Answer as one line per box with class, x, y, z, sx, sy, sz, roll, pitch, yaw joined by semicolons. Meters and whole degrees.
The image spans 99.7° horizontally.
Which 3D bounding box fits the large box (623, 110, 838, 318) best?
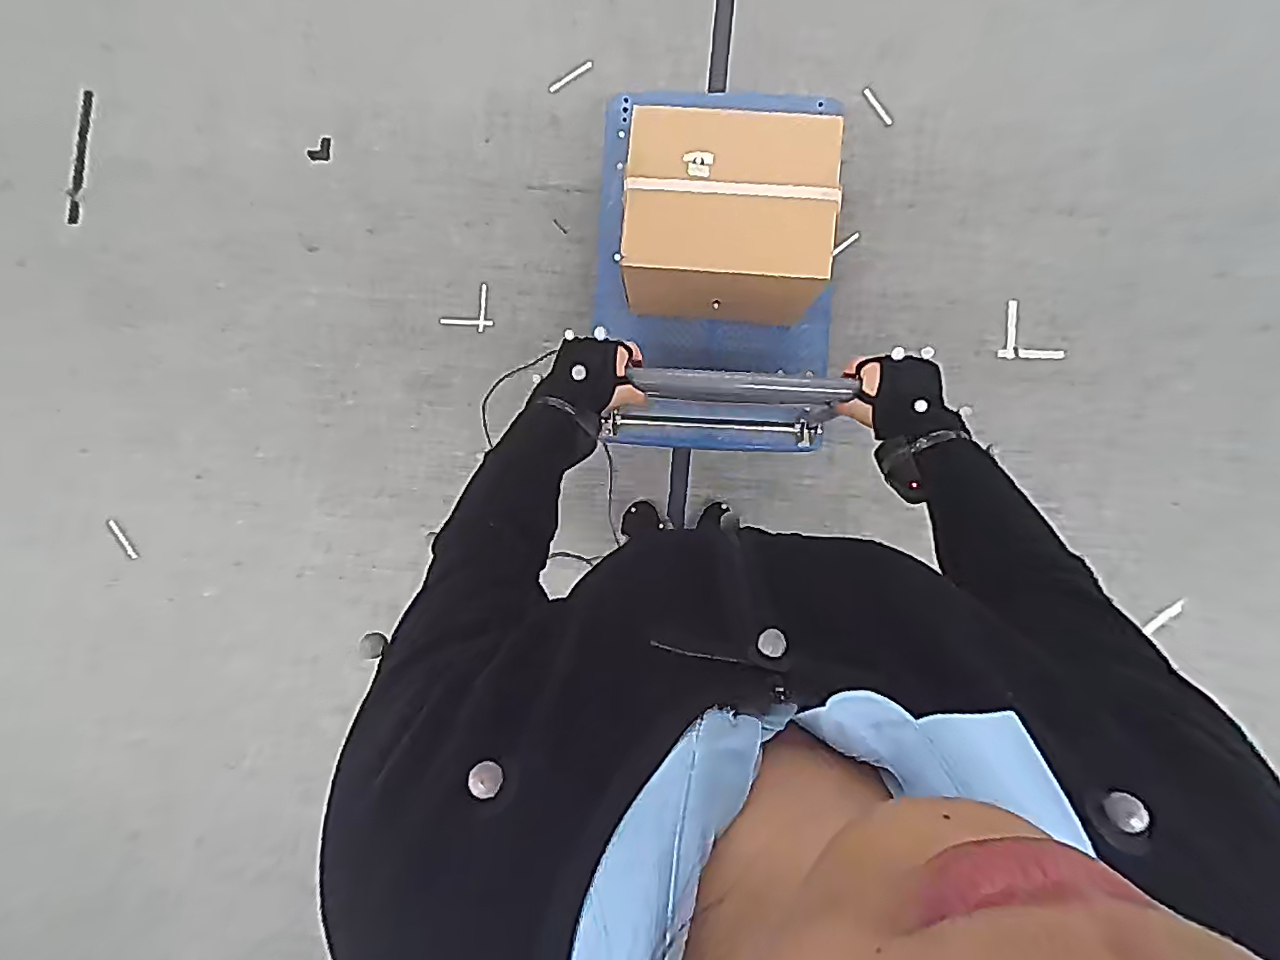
large box;0.184;-0.560;1.193;0.408;0.320;0.320;5;89;3
